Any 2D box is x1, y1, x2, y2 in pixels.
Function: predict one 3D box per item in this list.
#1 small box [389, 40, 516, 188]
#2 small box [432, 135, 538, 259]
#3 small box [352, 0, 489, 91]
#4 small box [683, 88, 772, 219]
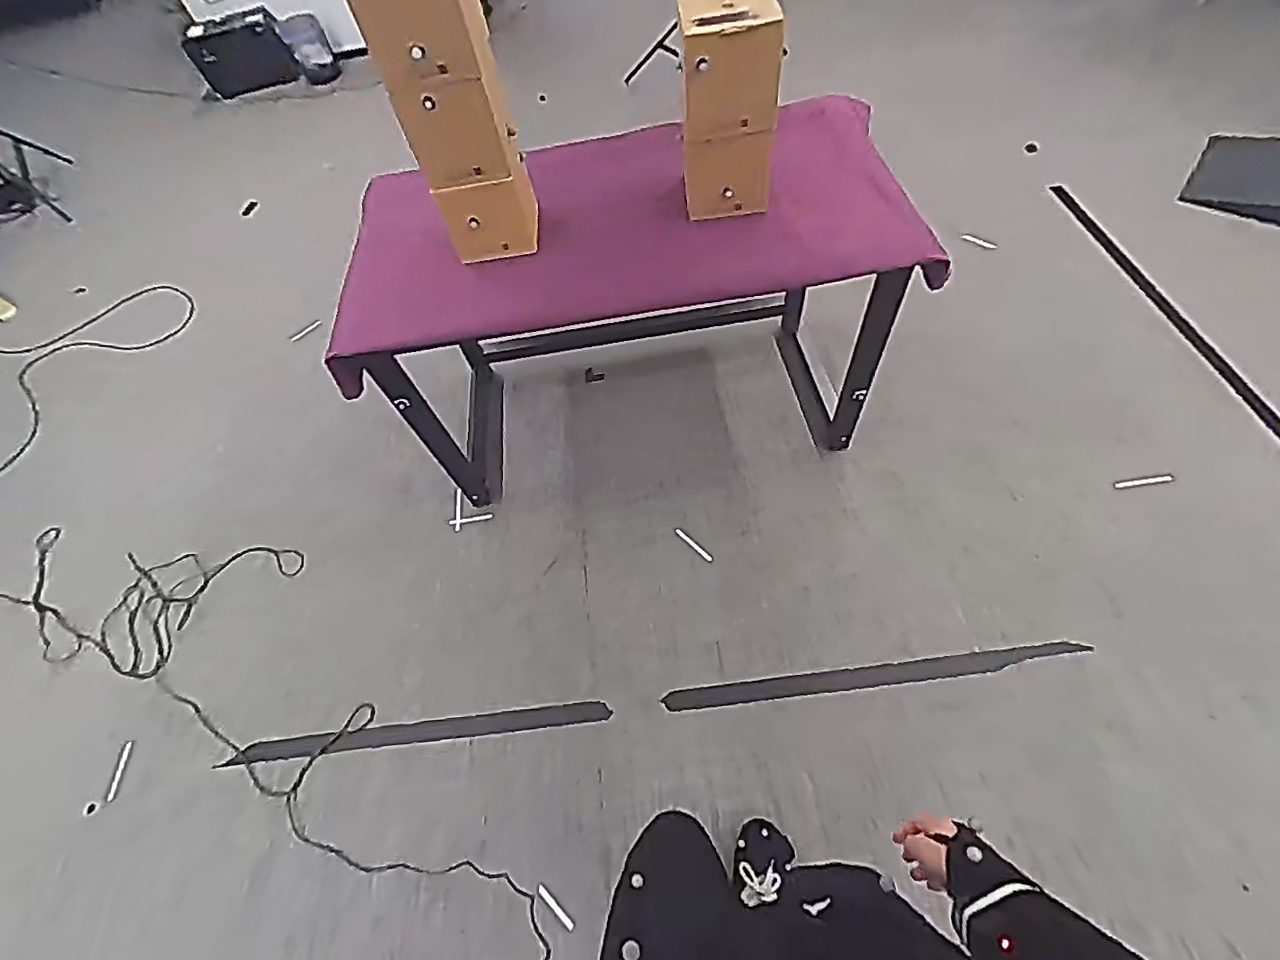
[{"bbox_3d":[-0.338,-0.680,1.009,0.168,0.176,0.179,-8,58,3],"label":"small box"},{"bbox_3d":[-0.319,-0.591,1.145,0.168,0.176,0.179,-8,58,3],"label":"small box"},{"bbox_3d":[-0.351,-0.763,0.867,0.168,0.176,0.179,-8,59,3],"label":"small box"},{"bbox_3d":[0.177,-0.679,1.132,0.168,0.176,0.179,-4,59,6],"label":"small box"}]
